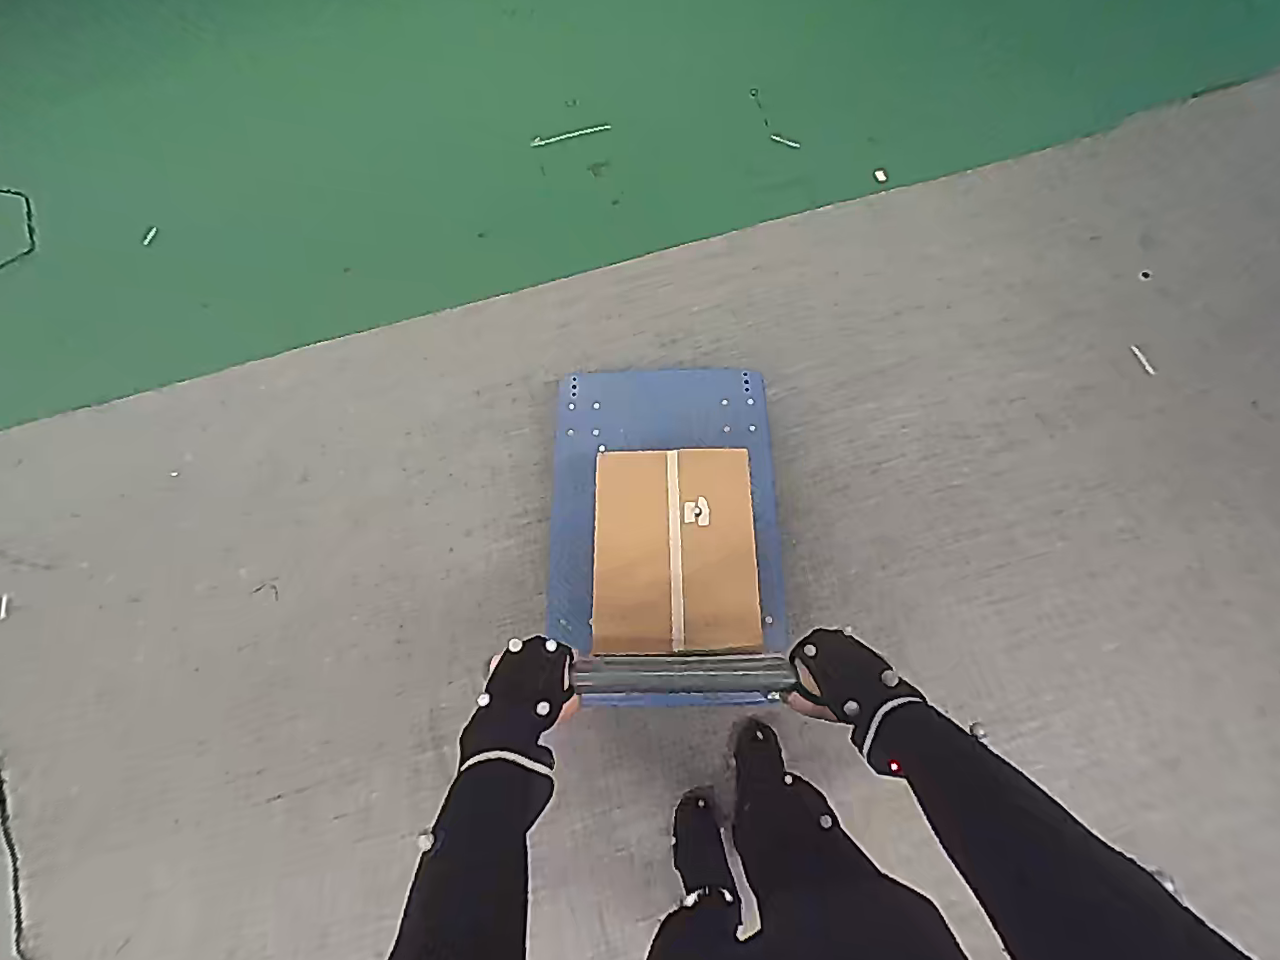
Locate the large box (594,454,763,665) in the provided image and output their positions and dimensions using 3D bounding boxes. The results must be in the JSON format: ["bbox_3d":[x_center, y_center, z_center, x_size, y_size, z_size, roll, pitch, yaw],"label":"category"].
[{"bbox_3d":[0.075,0.188,1.191,0.320,0.320,0.408,-1,69,1],"label":"large box"}]
